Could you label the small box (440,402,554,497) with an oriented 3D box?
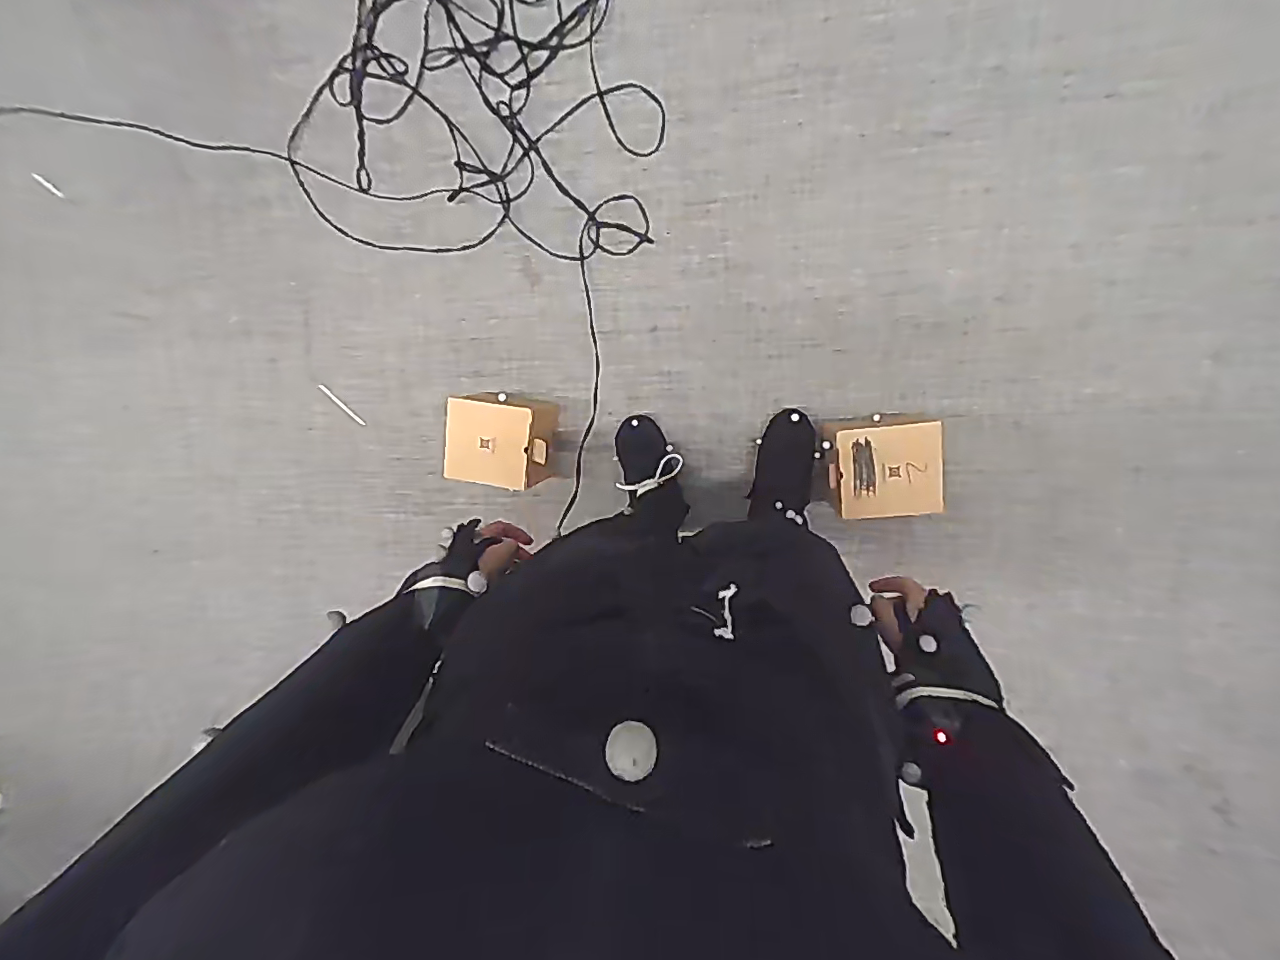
[{"bbox_3d":[-0.295,-0.072,1.137,0.179,0.176,0.168,9,102,6],"label":"small box"}]
